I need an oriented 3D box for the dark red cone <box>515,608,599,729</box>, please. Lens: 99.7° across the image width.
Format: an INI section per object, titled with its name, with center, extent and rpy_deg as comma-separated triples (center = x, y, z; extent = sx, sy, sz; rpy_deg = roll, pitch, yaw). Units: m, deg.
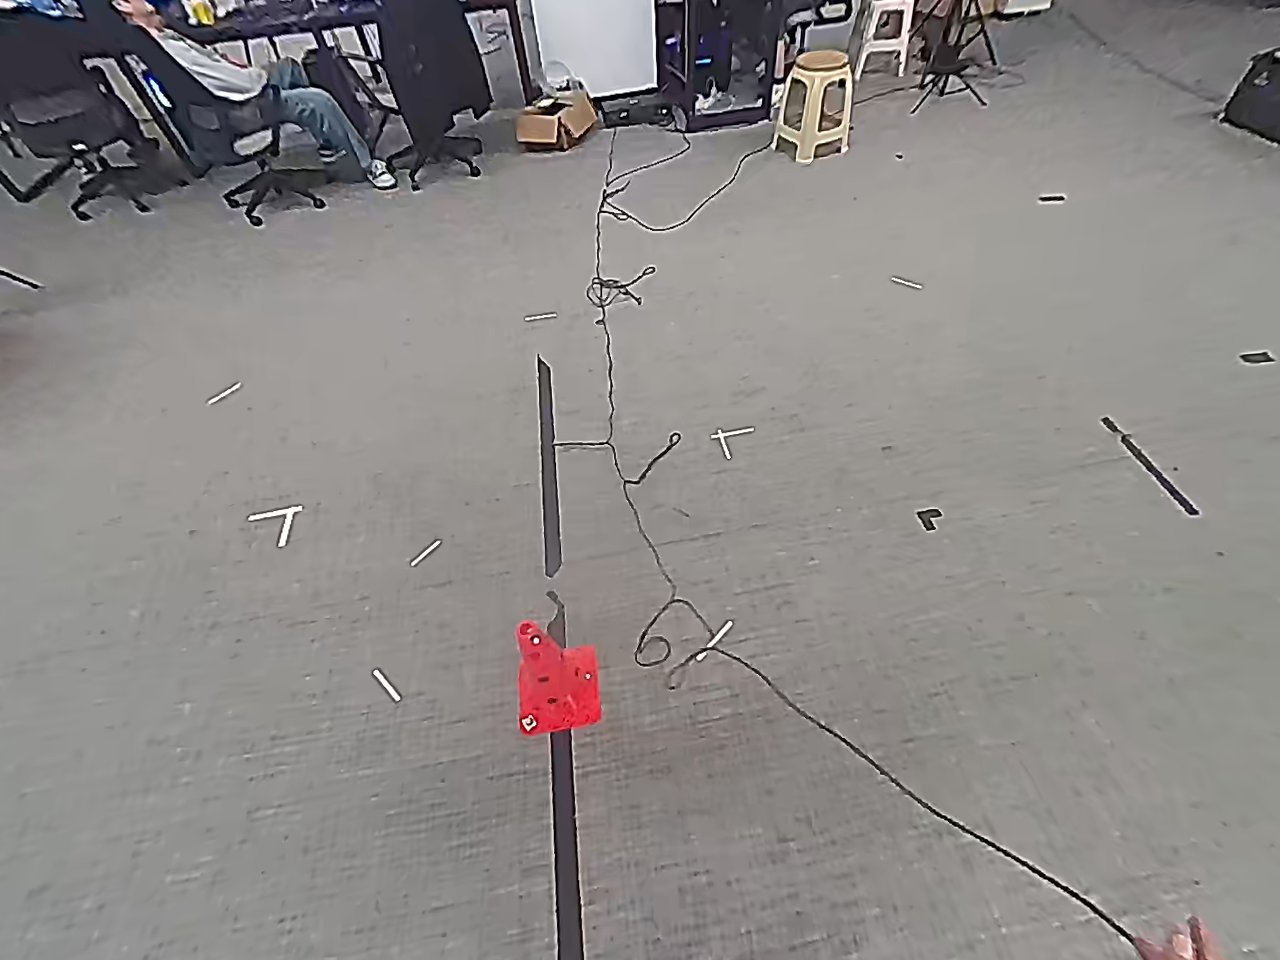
[dark red cone]
center = -0.215, 0.397, 1.209
extent = 0.201, 0.394, 0.202
rpy_deg = -9, 50, -4
